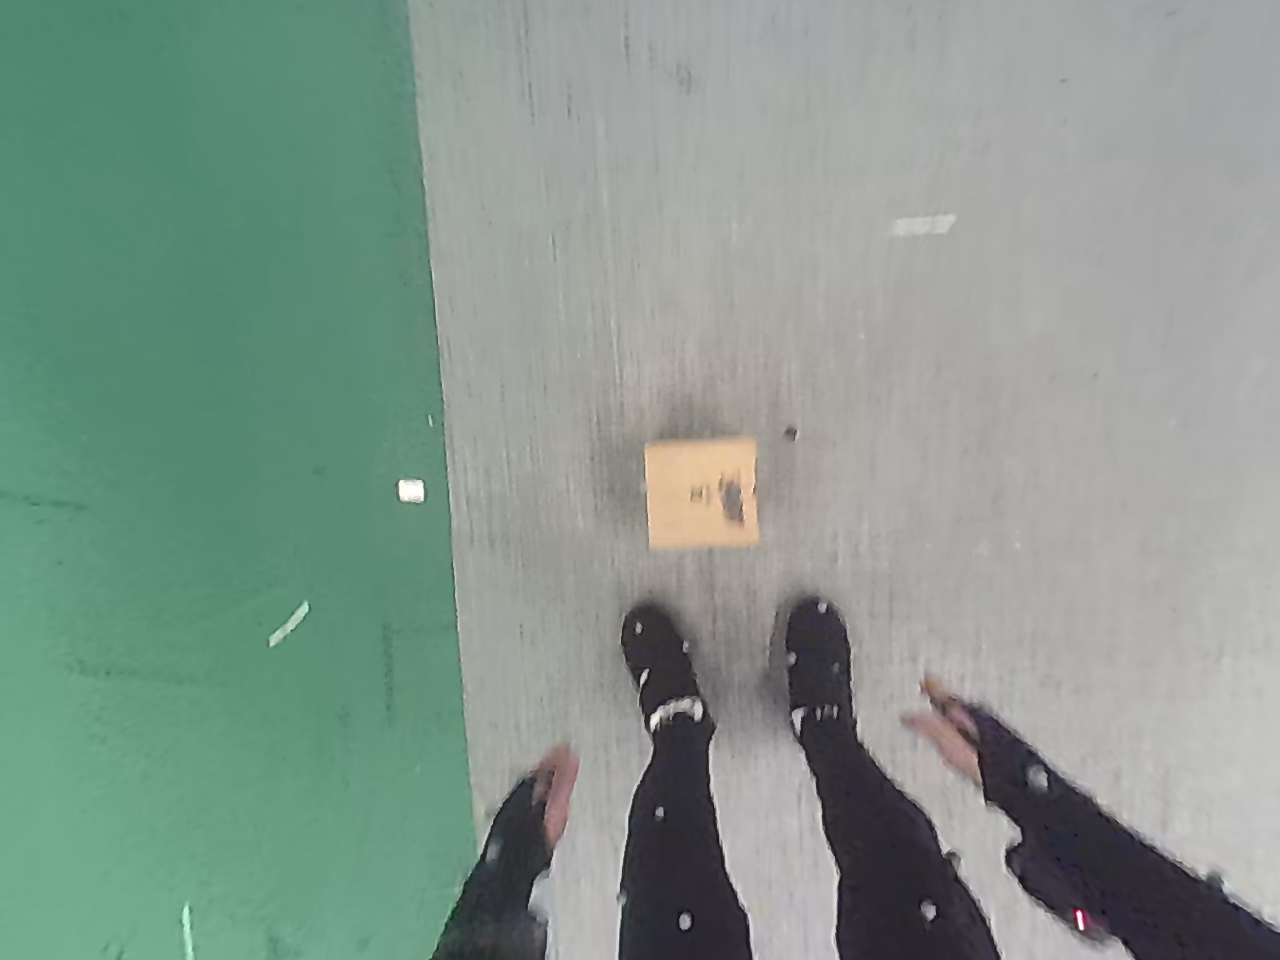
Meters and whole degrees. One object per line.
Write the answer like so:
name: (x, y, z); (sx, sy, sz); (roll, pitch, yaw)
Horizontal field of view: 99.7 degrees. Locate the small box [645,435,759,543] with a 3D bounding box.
small box: (0.100, 0.008, 0.922); (0.179, 0.176, 0.168); (-2, 95, 4)
